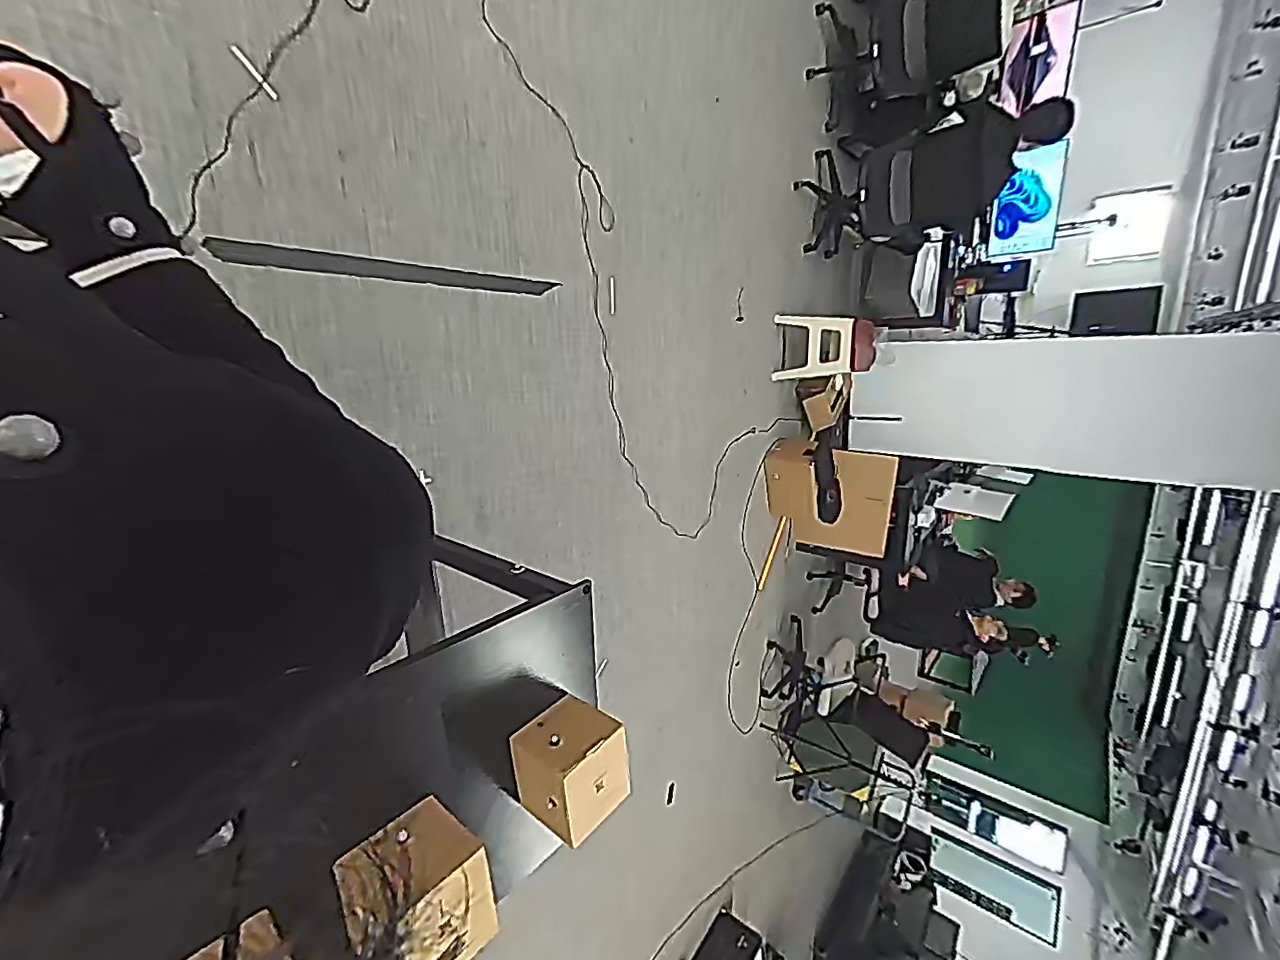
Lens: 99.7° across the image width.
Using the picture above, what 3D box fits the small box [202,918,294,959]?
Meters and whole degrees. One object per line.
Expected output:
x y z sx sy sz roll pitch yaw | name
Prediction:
-0.516 0.711 0.669 0.179 0.176 0.168 -16 110 -49 | small box

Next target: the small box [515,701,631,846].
-0.138 0.582 1.106 0.168 0.176 0.179 -22 115 -45 | small box

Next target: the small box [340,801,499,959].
-0.350 0.666 0.863 0.168 0.176 0.179 -19 112 -47 | small box
